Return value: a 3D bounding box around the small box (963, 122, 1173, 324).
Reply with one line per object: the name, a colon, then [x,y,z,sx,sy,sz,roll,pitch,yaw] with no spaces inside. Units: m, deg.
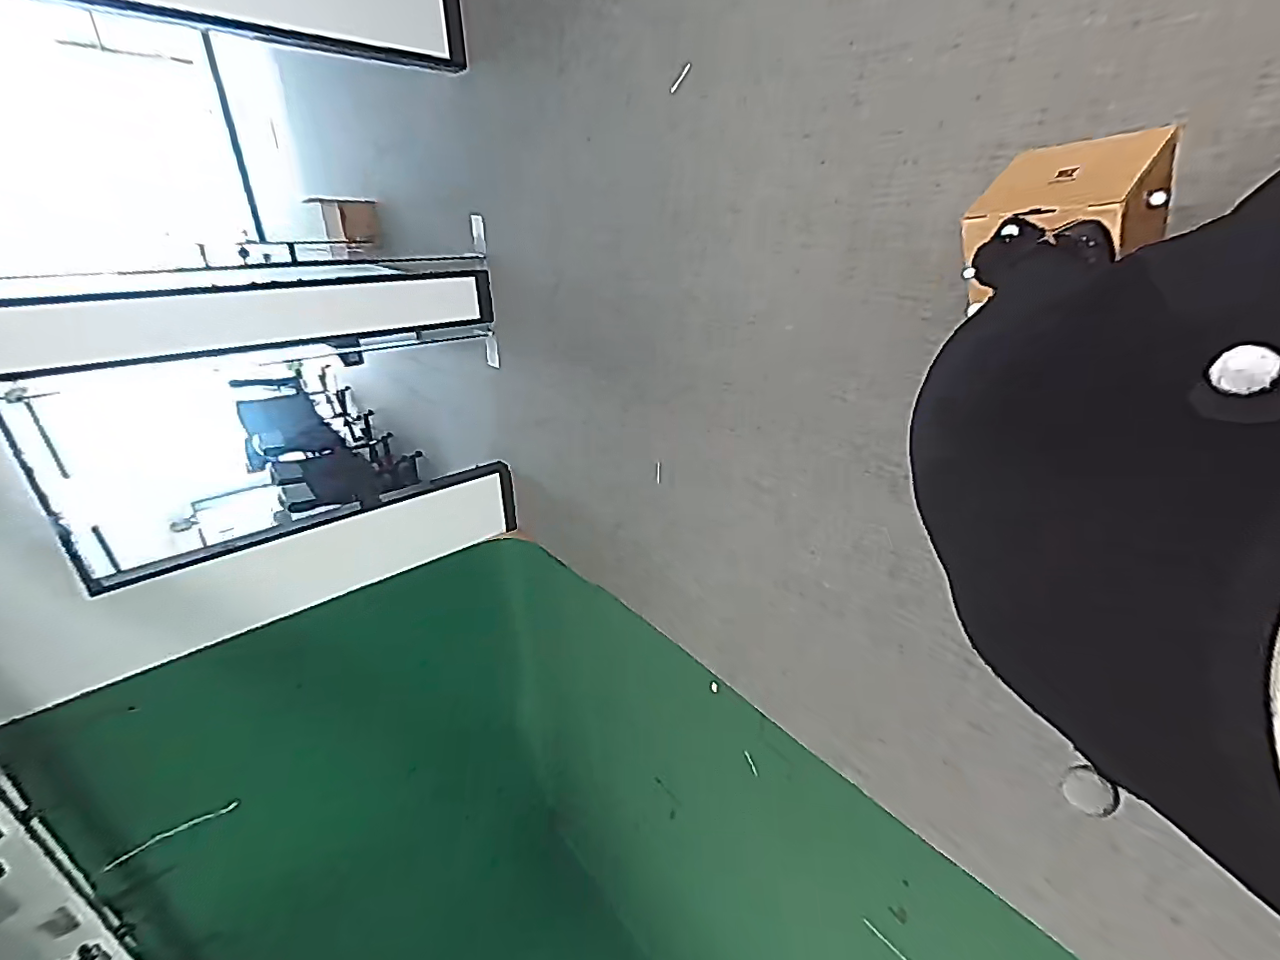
small box: [0.561,-0.333,0.721,0.168,0.179,0.176,22,152,49]
